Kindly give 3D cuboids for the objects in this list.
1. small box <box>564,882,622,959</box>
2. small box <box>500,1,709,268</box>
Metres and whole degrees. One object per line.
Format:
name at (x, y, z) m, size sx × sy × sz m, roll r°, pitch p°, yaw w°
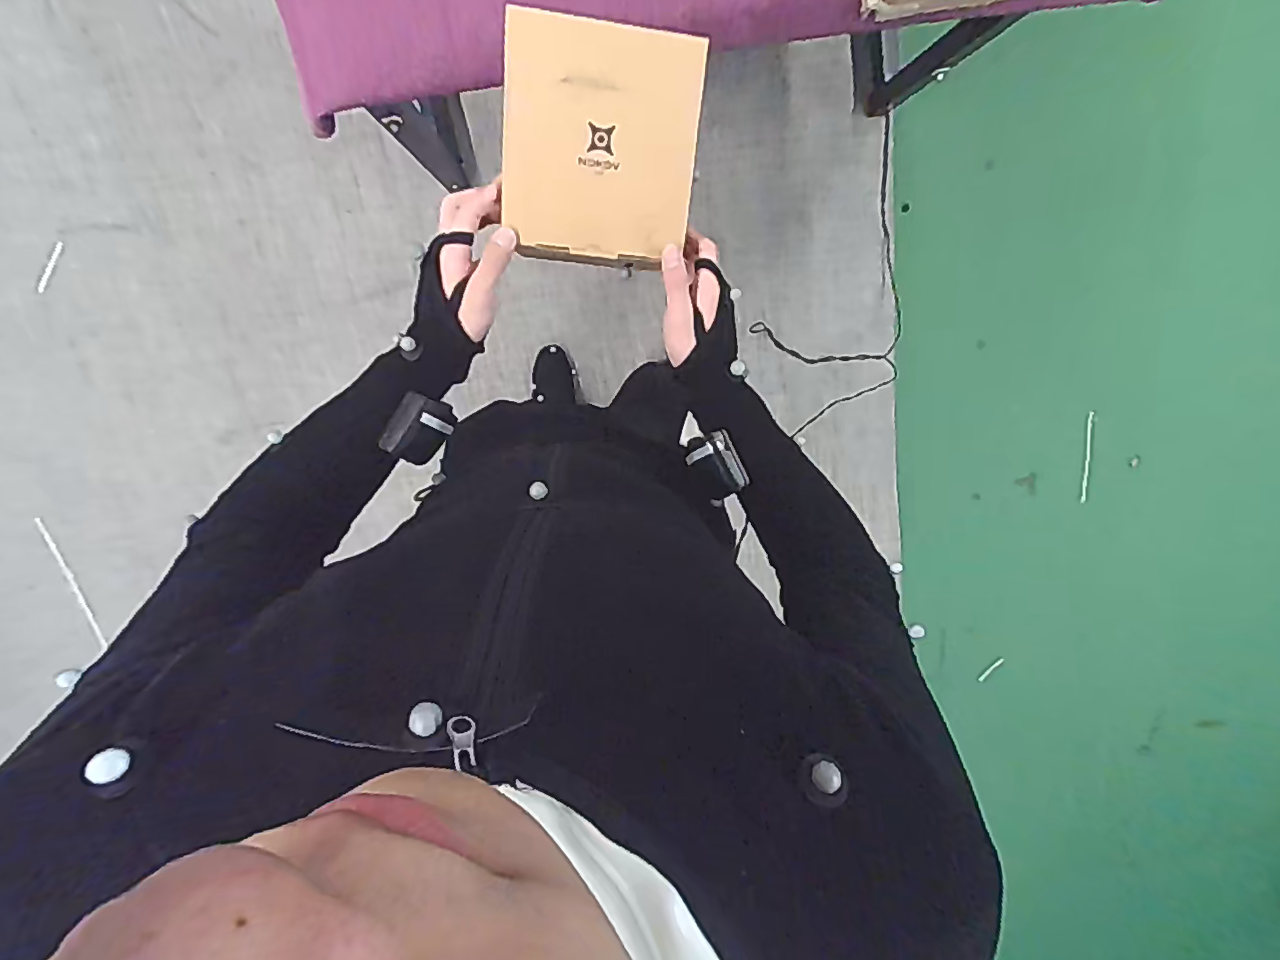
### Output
small box at (-0.142, 1.330, 1.599) m, size 0.168 × 0.176 × 0.179 m, roll 0°, pitch 104°, yaw -5°
small box at (-0.041, -0.313, 0.534) m, size 0.168 × 0.176 × 0.179 m, roll 4°, pitch 108°, yaw -8°
